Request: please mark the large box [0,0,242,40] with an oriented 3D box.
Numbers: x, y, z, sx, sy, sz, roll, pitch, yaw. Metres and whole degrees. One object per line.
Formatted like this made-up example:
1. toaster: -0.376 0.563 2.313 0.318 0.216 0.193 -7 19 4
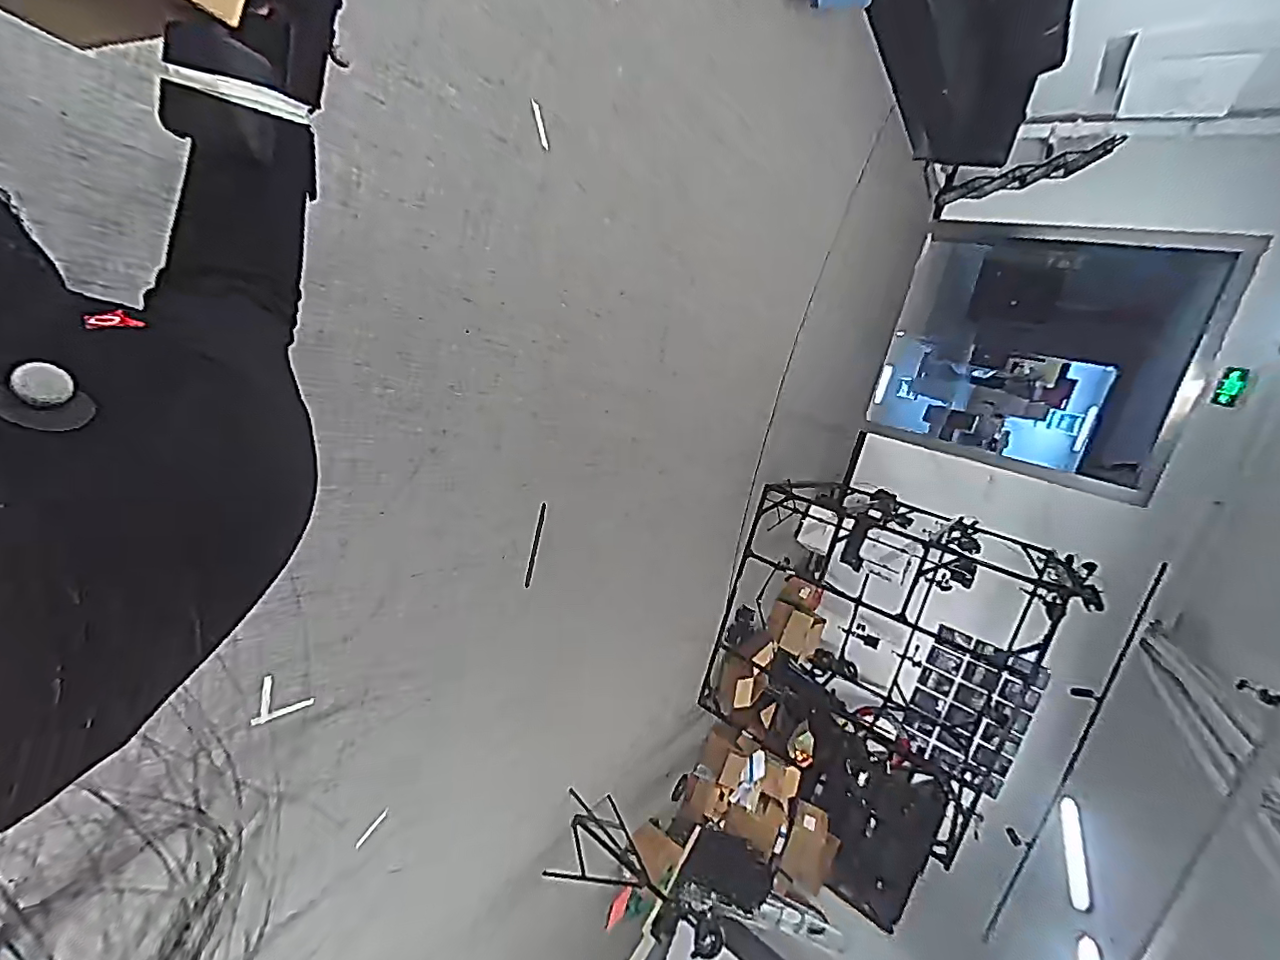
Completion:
1. large box: -0.423 -0.475 0.209 0.408 0.320 0.320 3 109 -60
